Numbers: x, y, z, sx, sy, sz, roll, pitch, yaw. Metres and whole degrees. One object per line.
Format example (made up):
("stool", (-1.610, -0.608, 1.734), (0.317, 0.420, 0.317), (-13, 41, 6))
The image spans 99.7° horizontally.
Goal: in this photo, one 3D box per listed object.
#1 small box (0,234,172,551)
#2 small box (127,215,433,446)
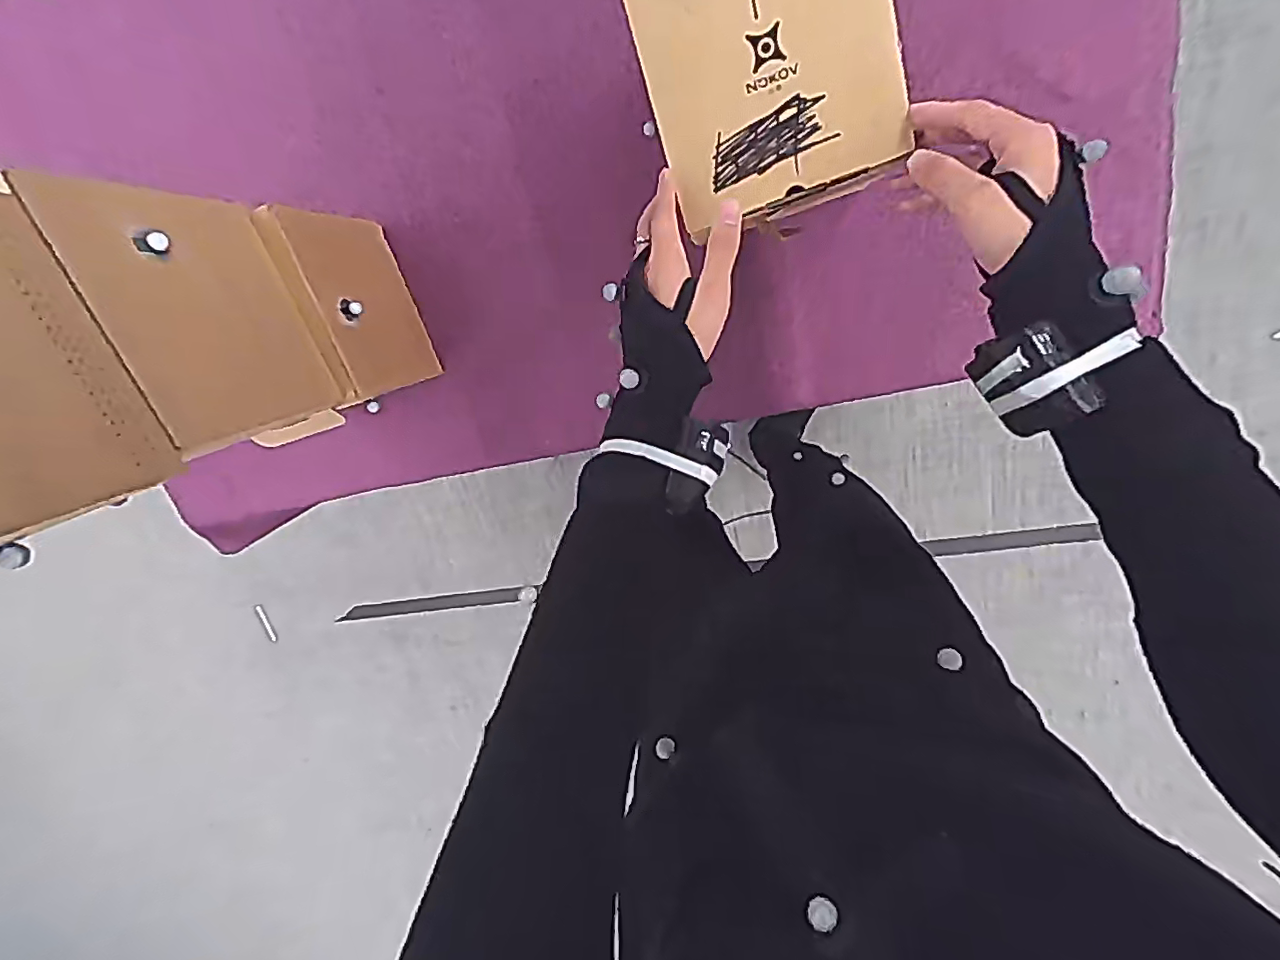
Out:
("small box", (-0.409, -0.030, 0.269), (0.168, 0.176, 0.179), (-17, 107, 14))
("small box", (-0.352, -0.157, 0.570), (0.168, 0.176, 0.179), (-14, 108, 13))
